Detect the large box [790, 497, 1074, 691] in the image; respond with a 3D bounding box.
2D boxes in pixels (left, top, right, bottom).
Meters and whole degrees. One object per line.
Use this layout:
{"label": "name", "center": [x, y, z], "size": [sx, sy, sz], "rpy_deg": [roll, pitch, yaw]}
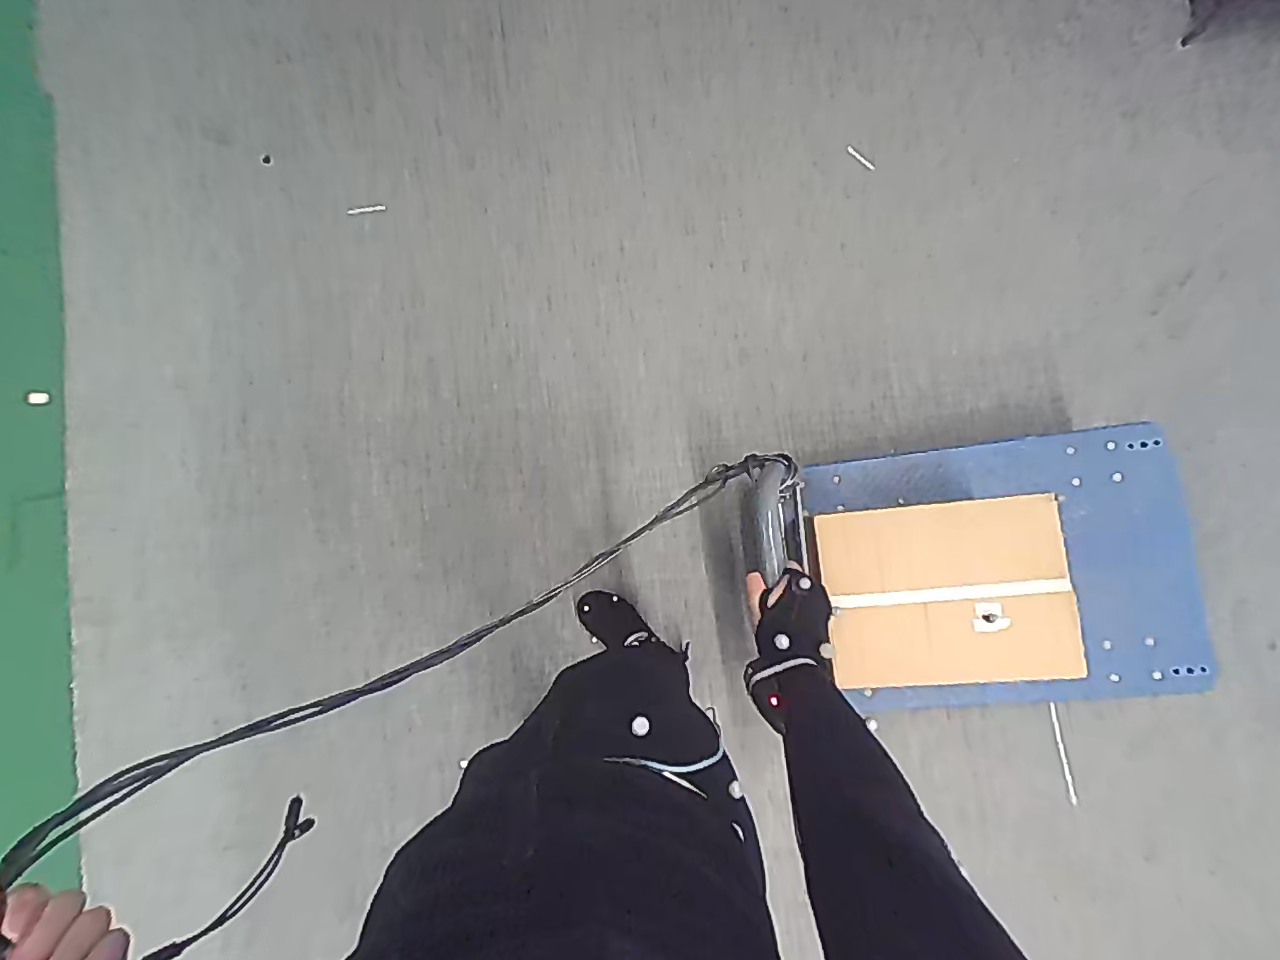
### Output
{"label": "large box", "center": [0.543, 0.218, 1.098], "size": [0.408, 0.320, 0.320], "rpy_deg": [-6, 85, 9]}
